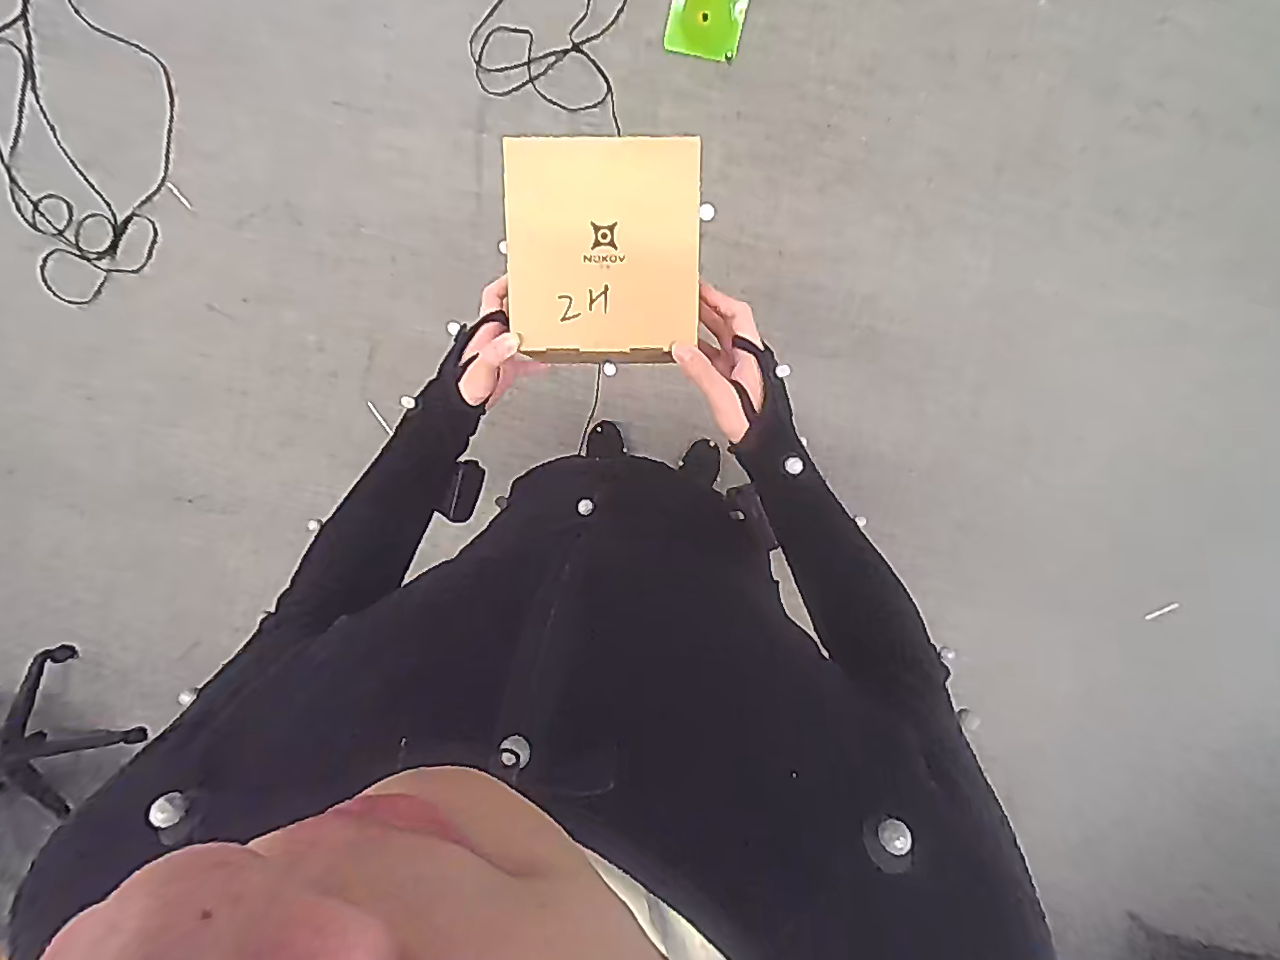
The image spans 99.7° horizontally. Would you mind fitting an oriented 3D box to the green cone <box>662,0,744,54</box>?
[{"bbox_3d":[0.159,-1.229,1.261,0.202,0.368,0.200,13,97,2],"label":"green cone"}]
